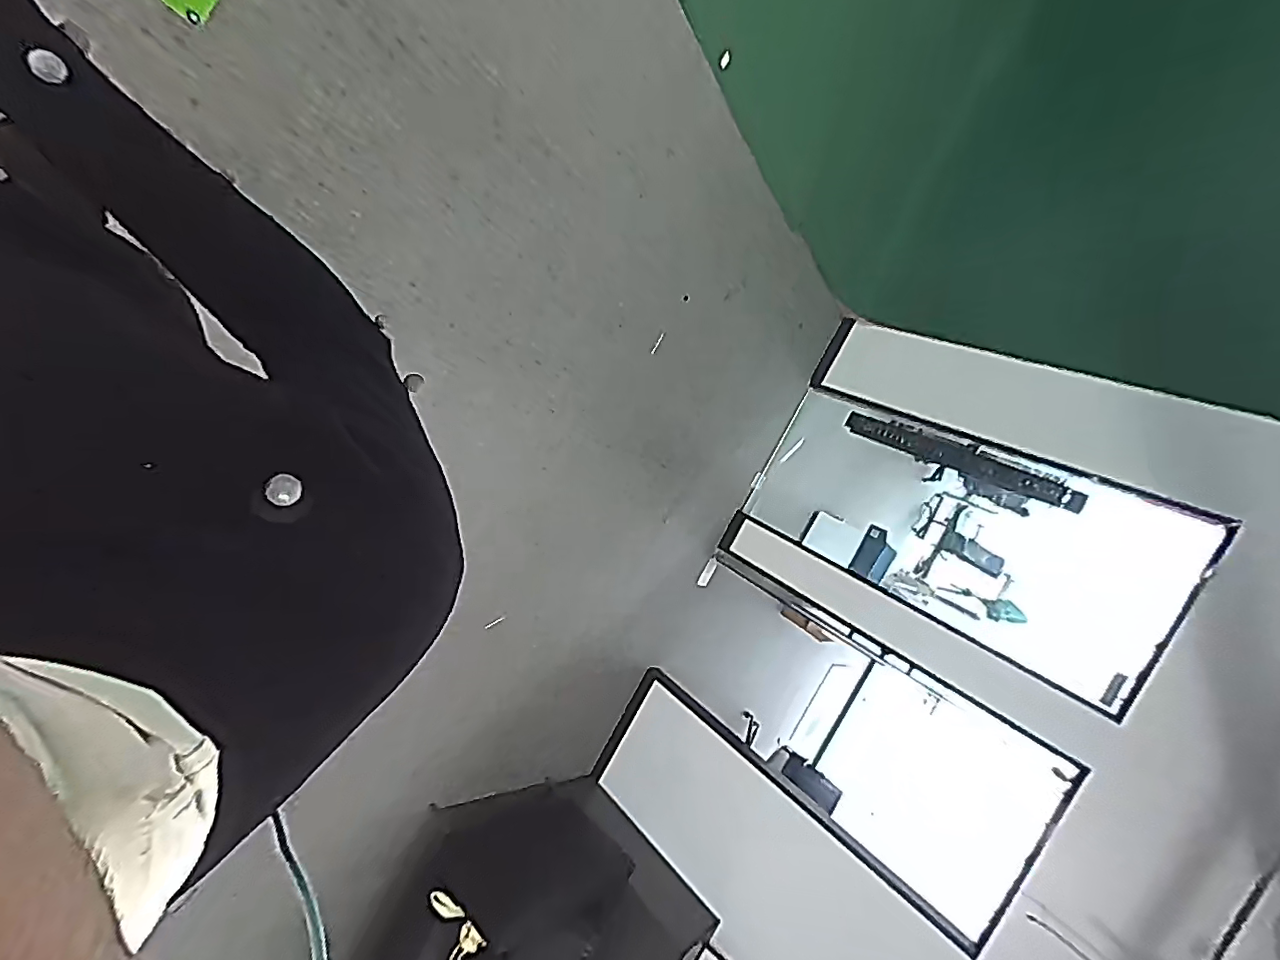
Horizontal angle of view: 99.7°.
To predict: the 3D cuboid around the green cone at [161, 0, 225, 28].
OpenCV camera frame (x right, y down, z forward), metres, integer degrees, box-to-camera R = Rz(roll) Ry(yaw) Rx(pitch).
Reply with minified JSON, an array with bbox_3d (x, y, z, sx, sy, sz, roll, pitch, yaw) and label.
[{"bbox_3d":[-0.739,-0.919,0.871,0.202,0.368,0.200,28,91,-52],"label":"green cone"}]
